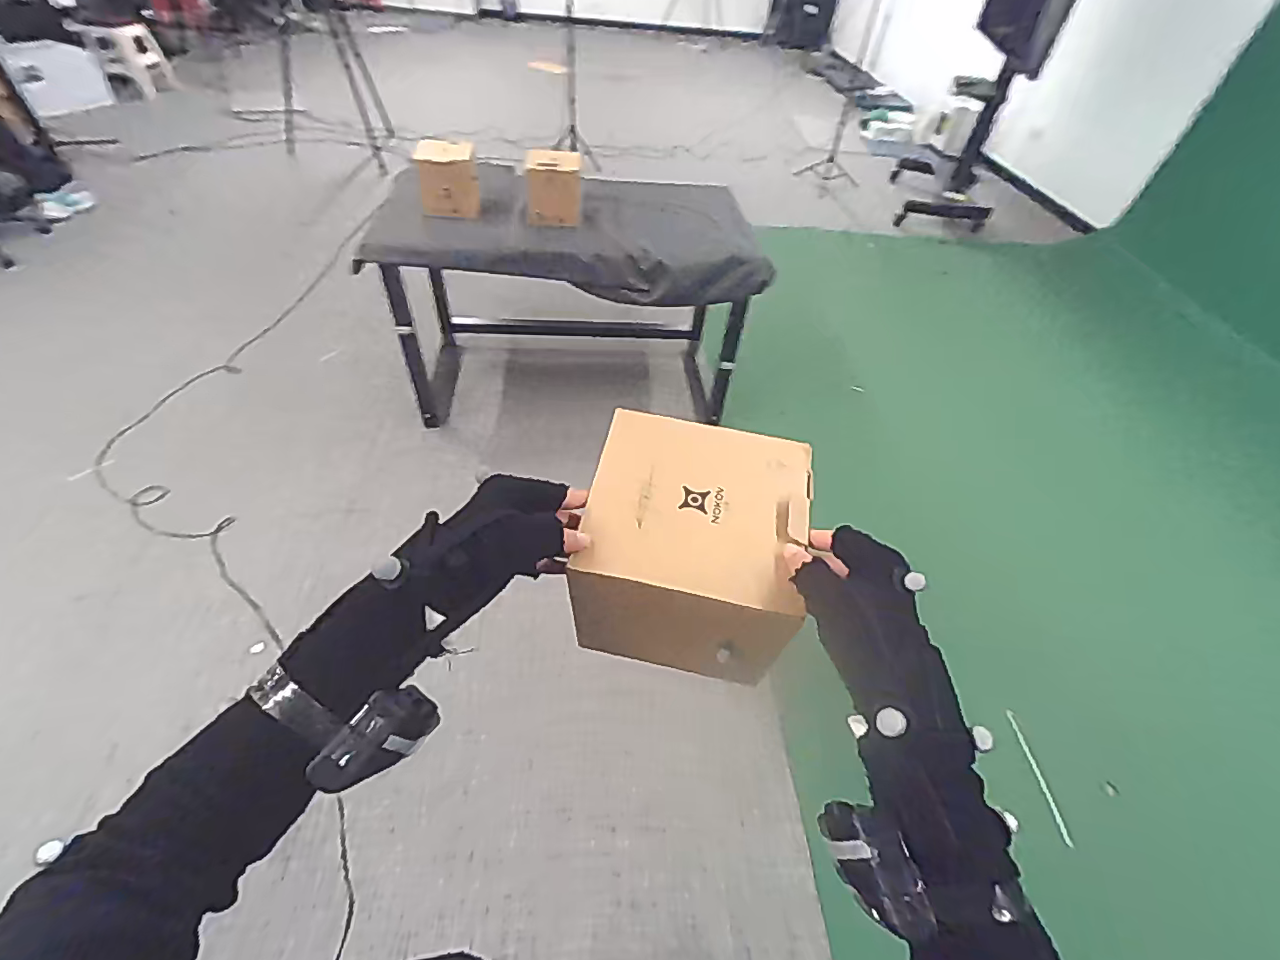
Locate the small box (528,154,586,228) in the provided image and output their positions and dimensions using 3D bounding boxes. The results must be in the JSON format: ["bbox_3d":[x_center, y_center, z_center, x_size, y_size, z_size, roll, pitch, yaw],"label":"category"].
[{"bbox_3d":[-0.262,-0.930,1.743,0.168,0.176,0.179,1,46,-4],"label":"small box"}]

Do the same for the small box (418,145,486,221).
[{"bbox_3d":[-0.592,-0.947,1.728,0.168,0.176,0.179,-1,48,-7],"label":"small box"}]

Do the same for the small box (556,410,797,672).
[{"bbox_3d":[0.036,0.062,0.500,0.179,0.176,0.168,9,53,6],"label":"small box"}]
